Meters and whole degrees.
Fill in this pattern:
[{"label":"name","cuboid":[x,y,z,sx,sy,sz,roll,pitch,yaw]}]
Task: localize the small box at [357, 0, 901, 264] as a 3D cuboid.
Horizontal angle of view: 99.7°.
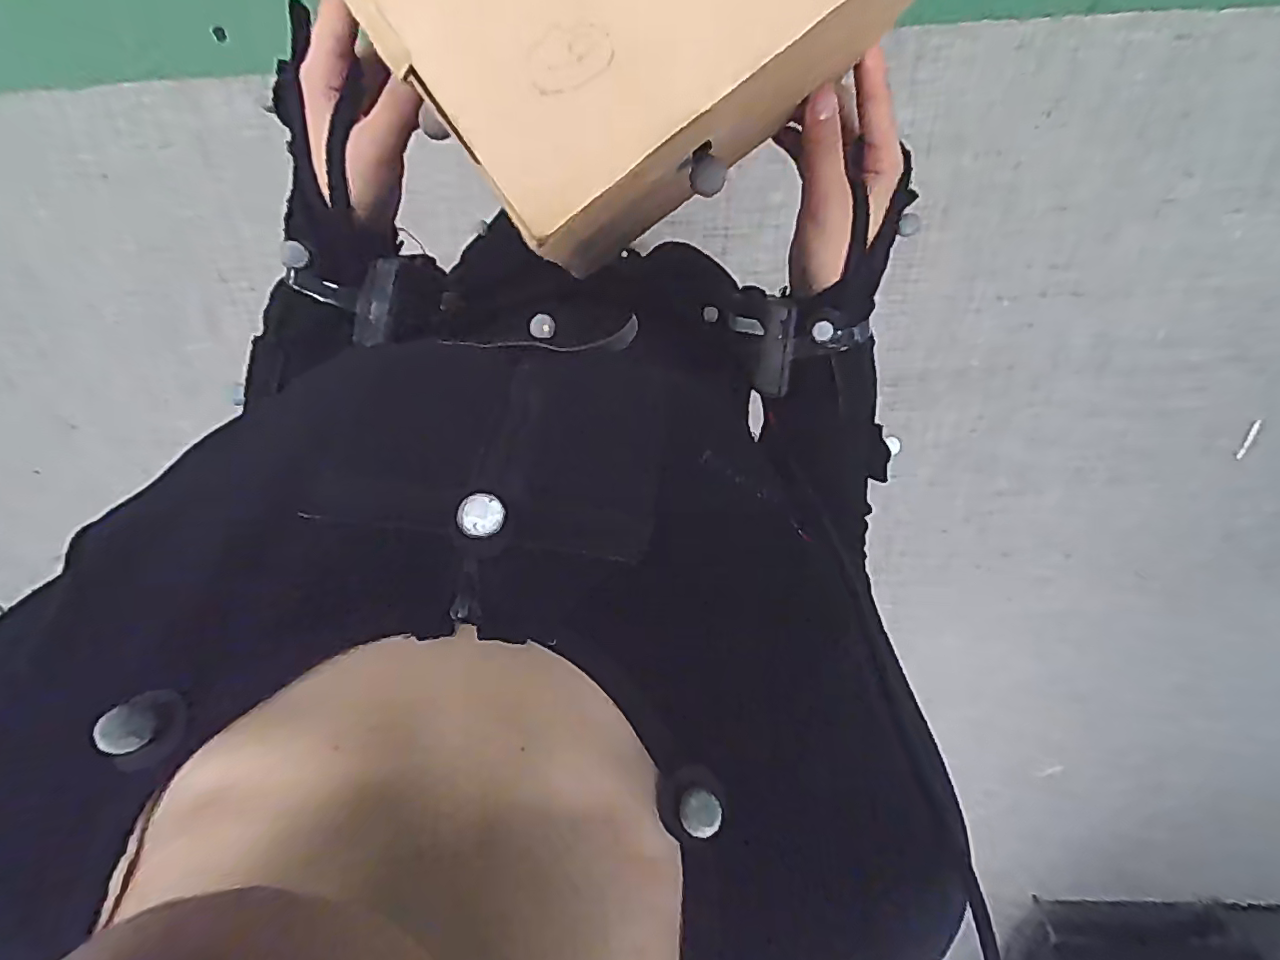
[{"label":"small box","cuboid":[-0.008,-0.207,0.214,0.179,0.176,0.168,-33,105,10]}]
